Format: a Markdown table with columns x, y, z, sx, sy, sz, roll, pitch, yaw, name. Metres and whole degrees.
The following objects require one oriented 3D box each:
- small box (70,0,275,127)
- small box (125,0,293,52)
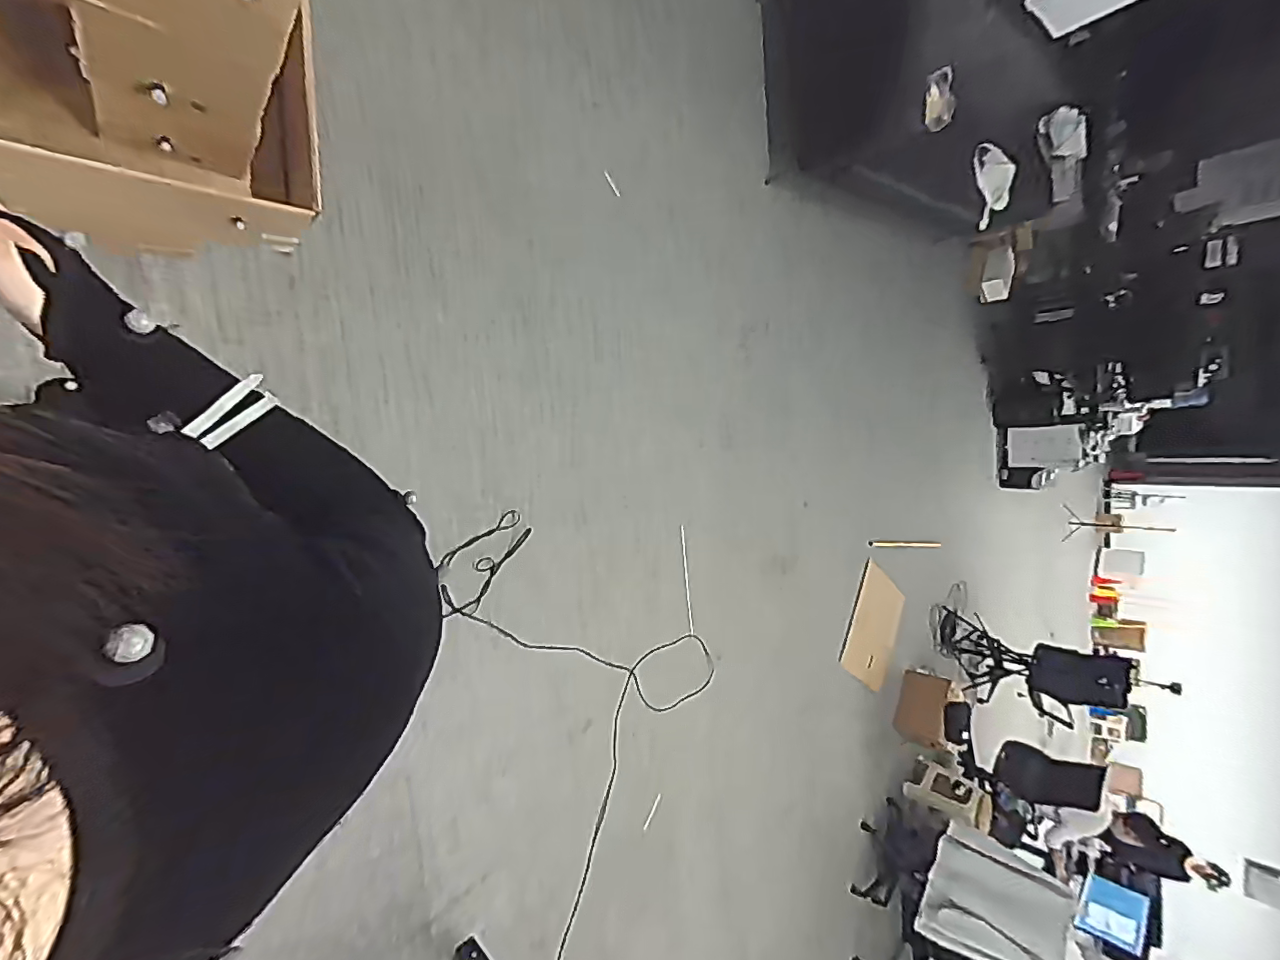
| x | y | z | sx | sy | sz | roll | pitch | yaw | name |
| --- | --- | --- | --- | --- | --- | --- | --- | --- | --- |
| -0.521 | -0.548 | 0.606 | 0.168 | 0.176 | 0.179 | -2 | 94 | -41 | small box |
| -0.412 | -0.536 | 0.482 | 0.179 | 0.176 | 0.168 | 1 | 92 | -41 | small box |
